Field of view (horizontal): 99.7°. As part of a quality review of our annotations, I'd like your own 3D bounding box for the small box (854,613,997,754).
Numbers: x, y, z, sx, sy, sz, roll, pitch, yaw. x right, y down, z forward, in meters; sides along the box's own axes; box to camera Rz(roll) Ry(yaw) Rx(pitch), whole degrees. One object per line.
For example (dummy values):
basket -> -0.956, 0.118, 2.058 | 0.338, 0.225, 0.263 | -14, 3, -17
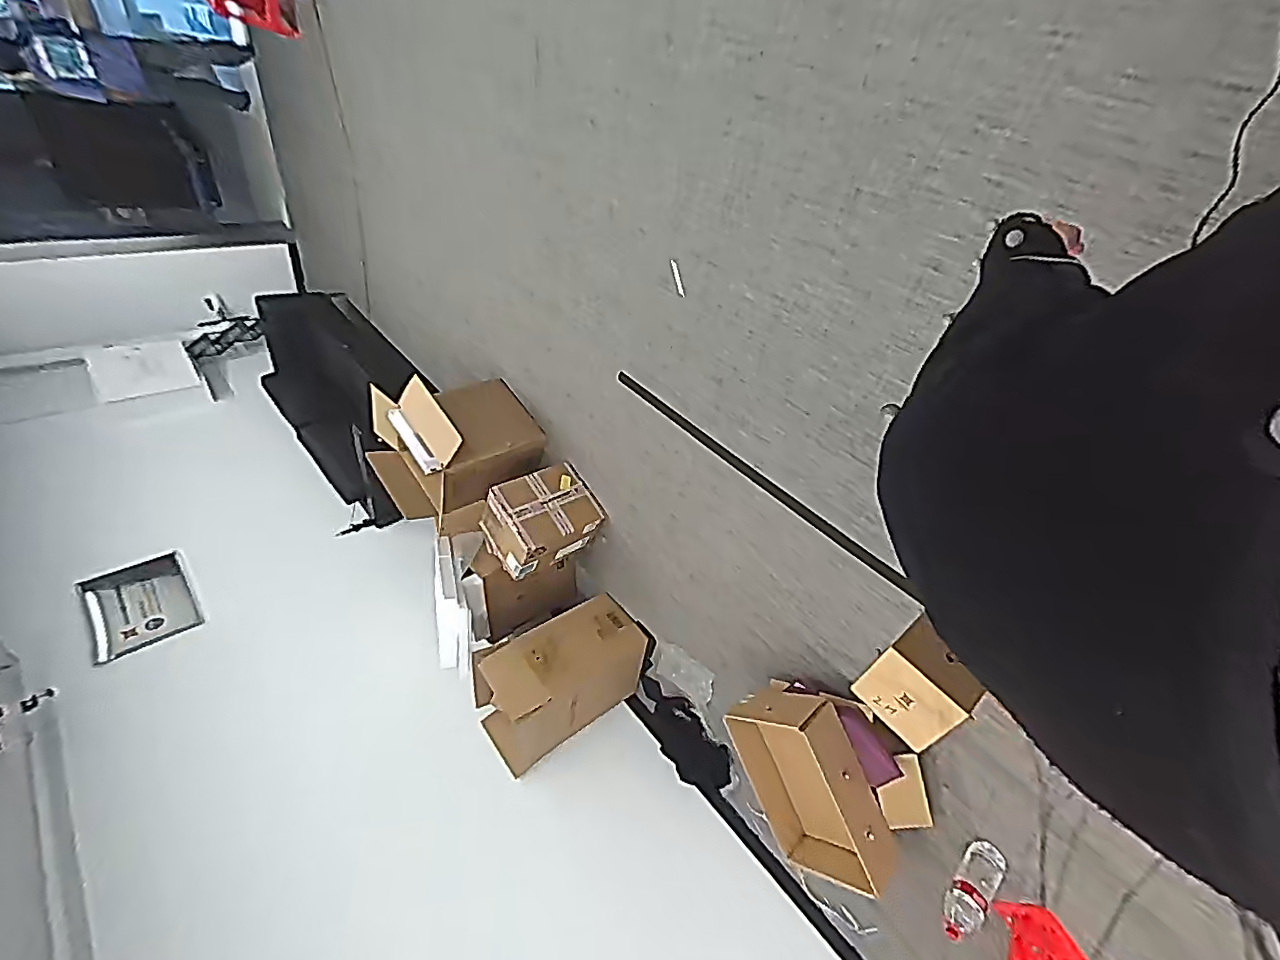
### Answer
small box -> 0.576, 0.401, 1.087 | 0.168, 0.176, 0.179 | 45, 140, 29
